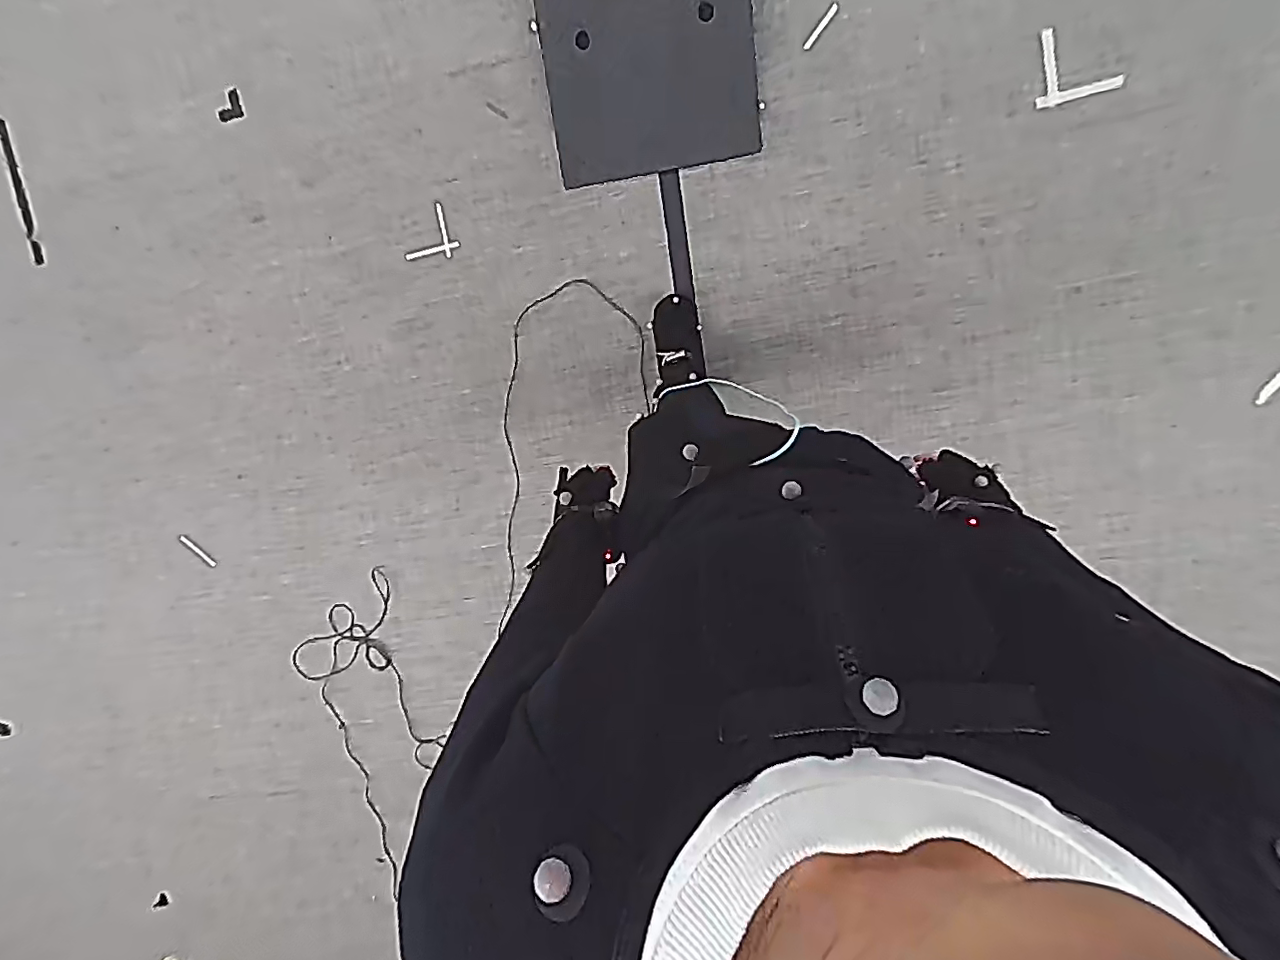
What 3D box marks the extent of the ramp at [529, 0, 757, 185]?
[{"bbox_3d":[-0.029,-1.231,1.166,0.509,0.206,0.991,-8,99,8],"label":"ramp"}]
